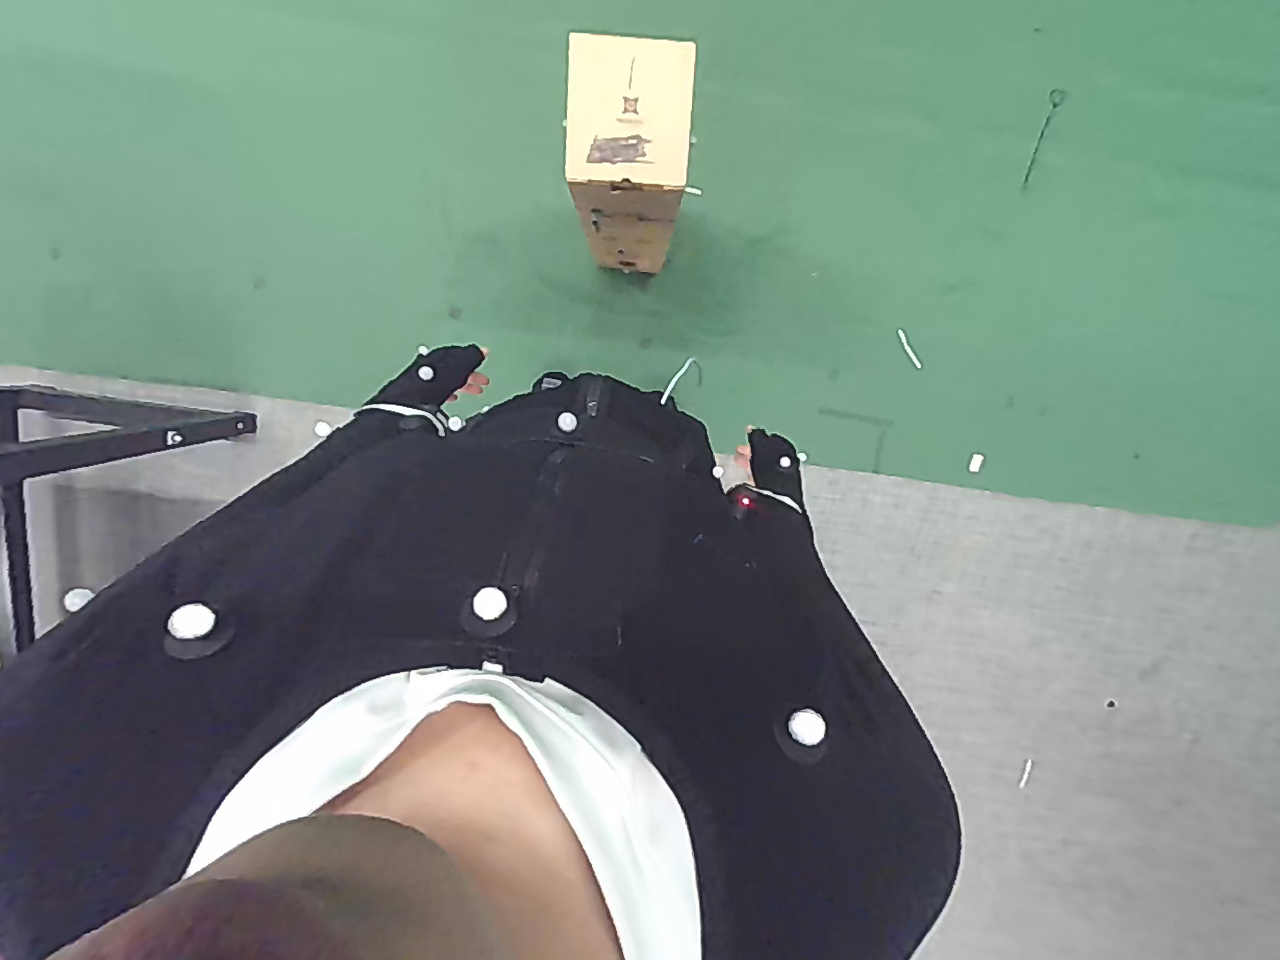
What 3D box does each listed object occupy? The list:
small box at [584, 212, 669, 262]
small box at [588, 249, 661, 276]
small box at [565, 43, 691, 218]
[{"bbox_3d":[-0.025,-0.561,1.112,0.168,0.176,0.179,4,103,-3],"label":"small box"},{"bbox_3d":[-0.028,-0.594,1.271,0.168,0.176,0.179,6,102,-2],"label":"small box"},{"bbox_3d":[-0.018,-0.493,0.790,0.168,0.176,0.179,0,103,-2],"label":"small box"}]
